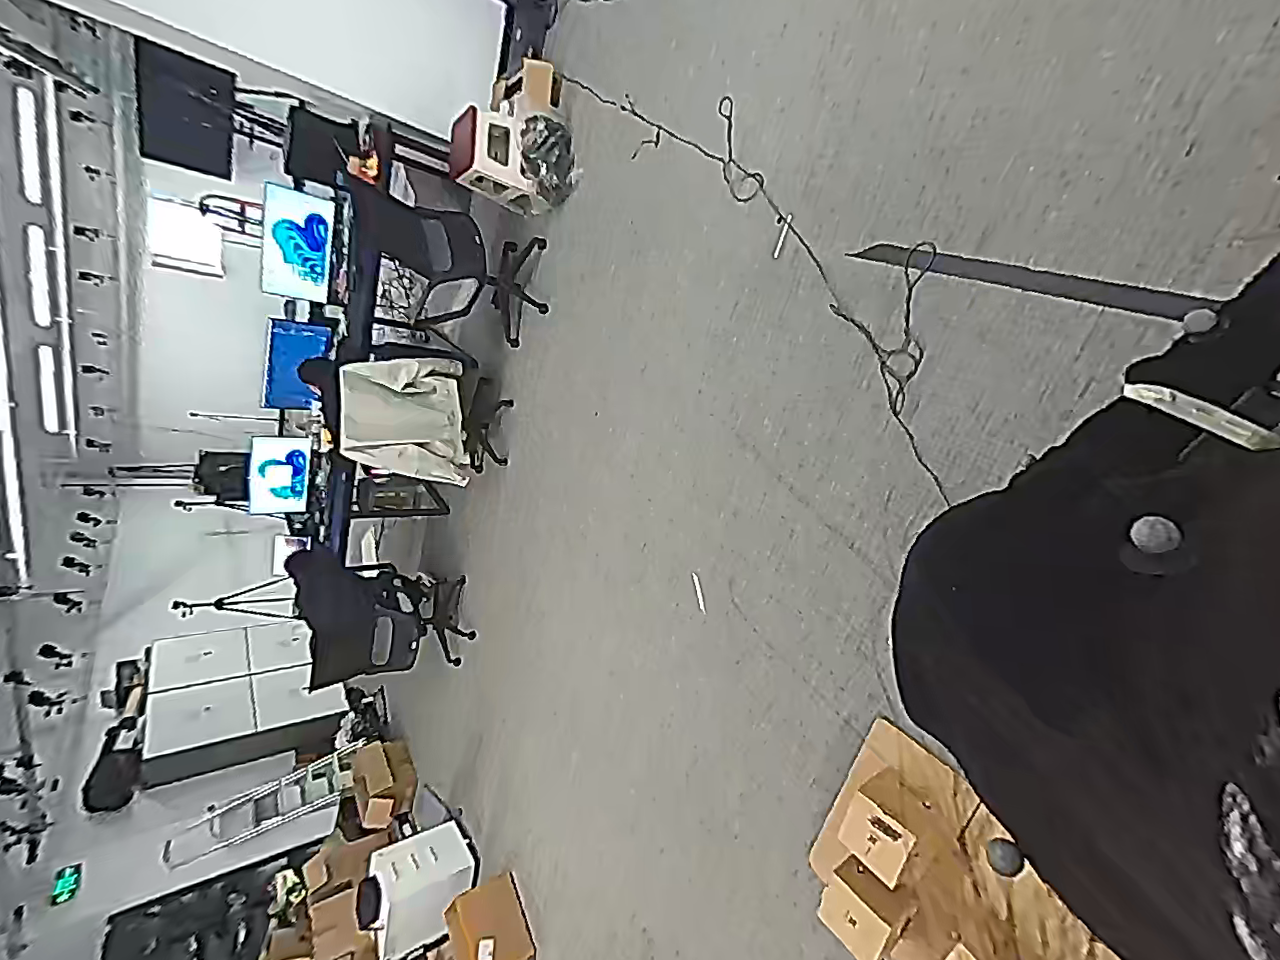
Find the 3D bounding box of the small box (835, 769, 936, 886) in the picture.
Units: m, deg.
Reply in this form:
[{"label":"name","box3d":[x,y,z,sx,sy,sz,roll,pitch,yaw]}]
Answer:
[{"label":"small box","box3d":[0.663,0.920,1.451,0.168,0.176,0.179,30,113,46]}]

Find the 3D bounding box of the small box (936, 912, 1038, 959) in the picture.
[{"label":"small box","box3d":[0.819,1.166,1.267,0.179,0.176,0.168,38,118,42]}]

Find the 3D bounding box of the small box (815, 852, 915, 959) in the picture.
[{"label":"small box","box3d":[0.624,1.173,1.502,0.179,0.176,0.168,28,112,46]}]
